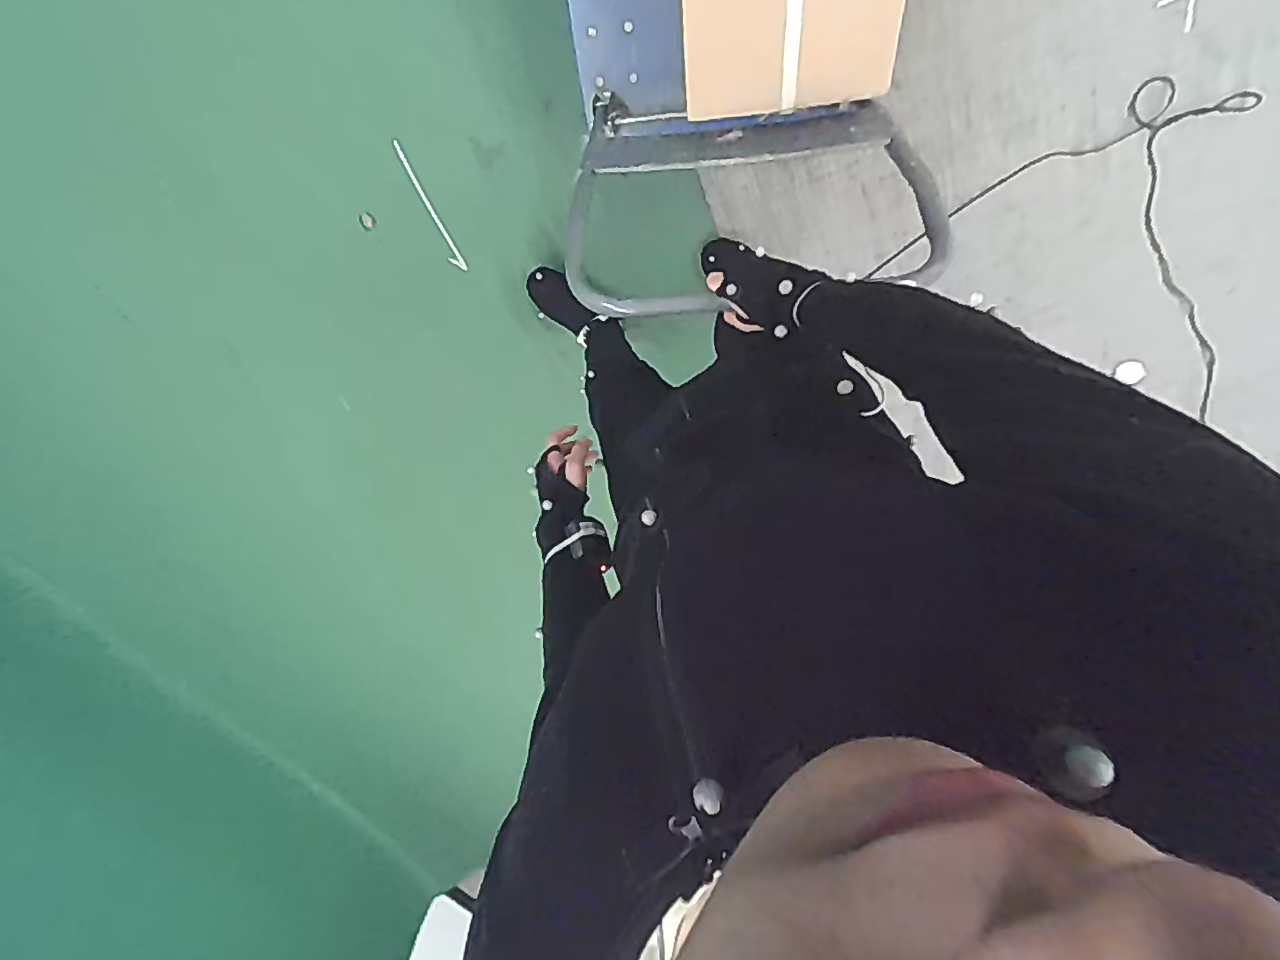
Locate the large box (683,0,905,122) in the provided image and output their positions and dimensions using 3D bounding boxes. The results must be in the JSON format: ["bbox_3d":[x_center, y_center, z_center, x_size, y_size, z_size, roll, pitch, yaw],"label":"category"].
[{"bbox_3d":[0.218,-0.837,0.827,0.320,0.320,0.408,-4,135,7],"label":"large box"}]
